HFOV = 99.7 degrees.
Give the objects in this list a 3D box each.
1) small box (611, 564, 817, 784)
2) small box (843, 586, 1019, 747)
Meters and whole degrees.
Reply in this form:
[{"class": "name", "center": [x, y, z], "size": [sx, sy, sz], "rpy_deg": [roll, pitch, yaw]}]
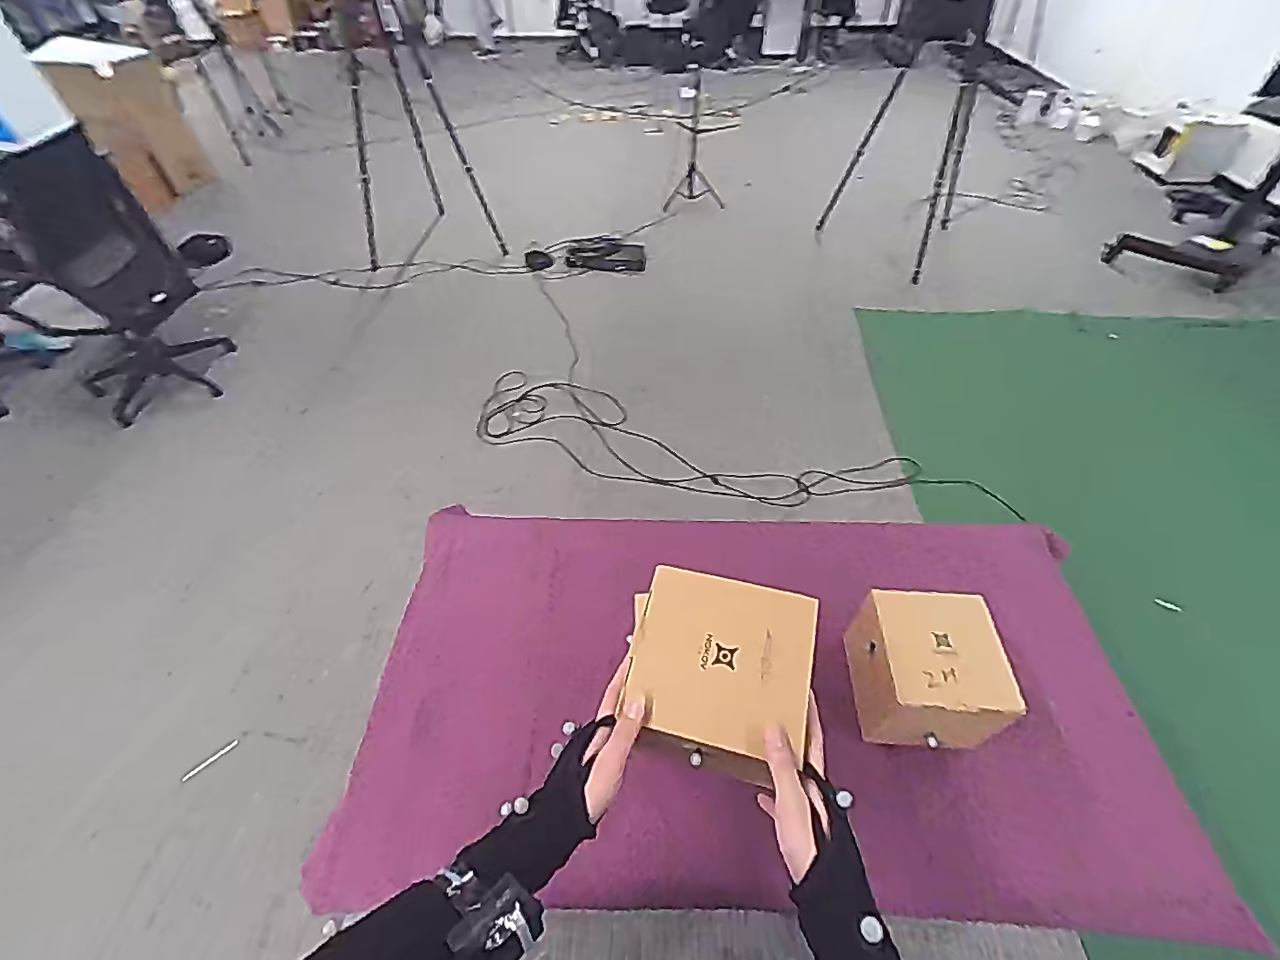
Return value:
[{"class": "small box", "center": [0.084, 0.218, 0.597], "size": [0.179, 0.176, 0.168], "rpy_deg": [11, 57, 13]}, {"class": "small box", "center": [0.424, 0.285, 0.826], "size": [0.168, 0.176, 0.179], "rpy_deg": [2, 49, 4]}]
